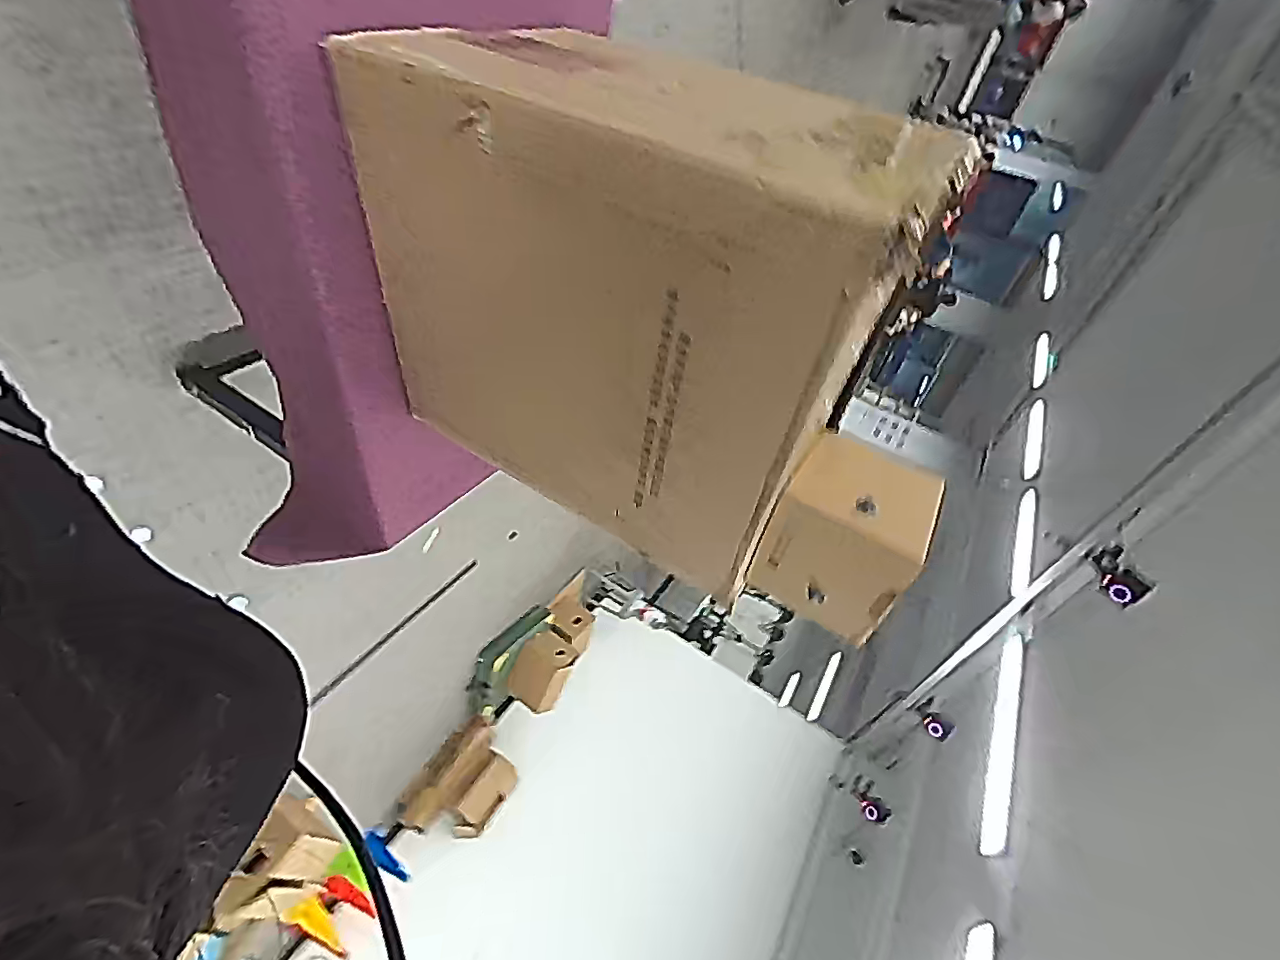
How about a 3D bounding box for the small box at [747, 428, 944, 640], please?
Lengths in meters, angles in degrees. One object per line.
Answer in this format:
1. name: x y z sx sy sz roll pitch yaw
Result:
1. small box: 0.259 0.062 0.700 0.179 0.176 0.168 -46 157 -44
